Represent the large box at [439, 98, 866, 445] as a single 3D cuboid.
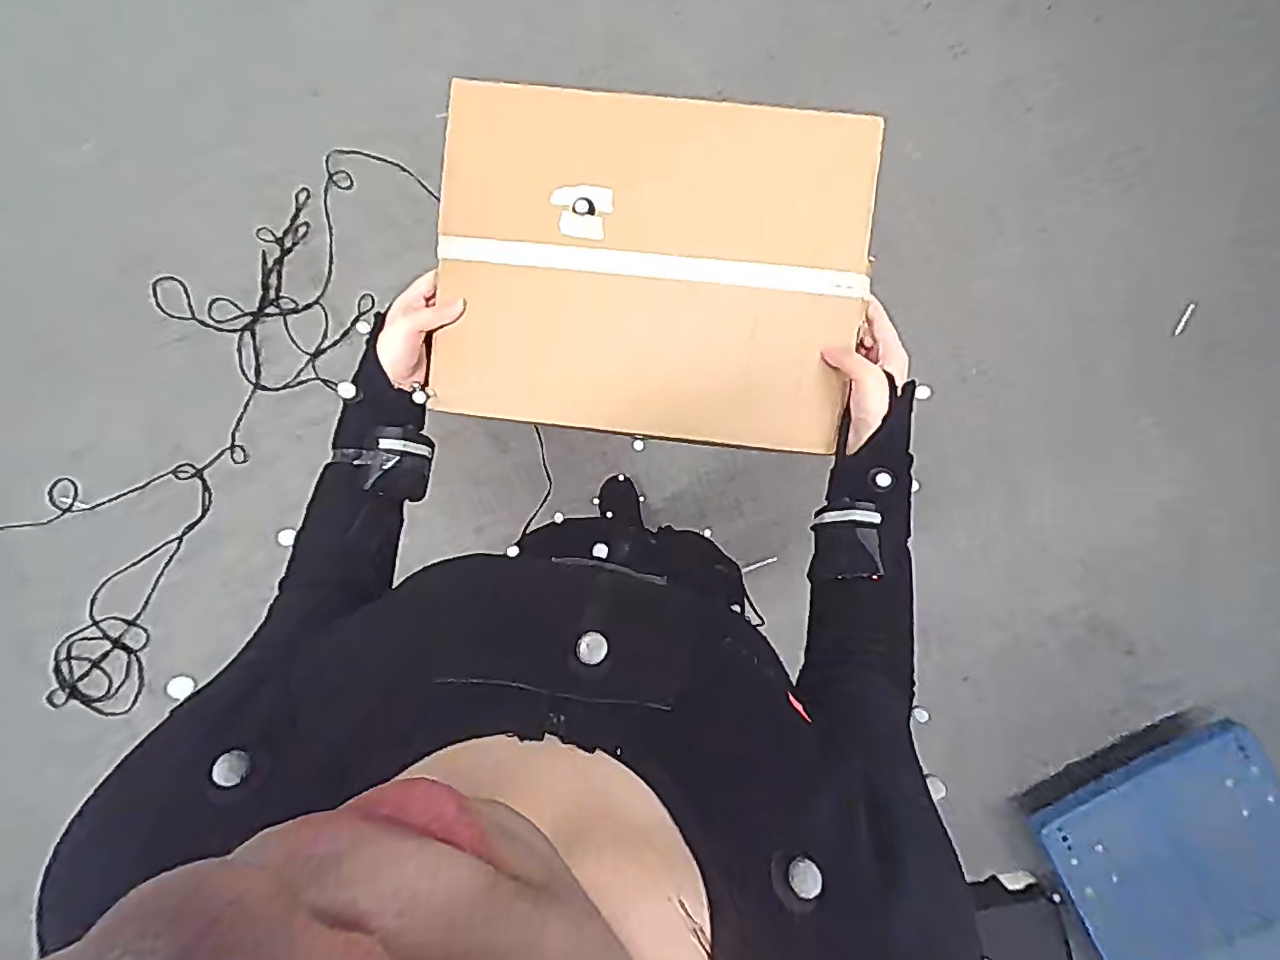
[{"bbox_3d":[0.015,-0.216,0.675,0.408,0.320,0.320,6,94,4],"label":"large box"}]
